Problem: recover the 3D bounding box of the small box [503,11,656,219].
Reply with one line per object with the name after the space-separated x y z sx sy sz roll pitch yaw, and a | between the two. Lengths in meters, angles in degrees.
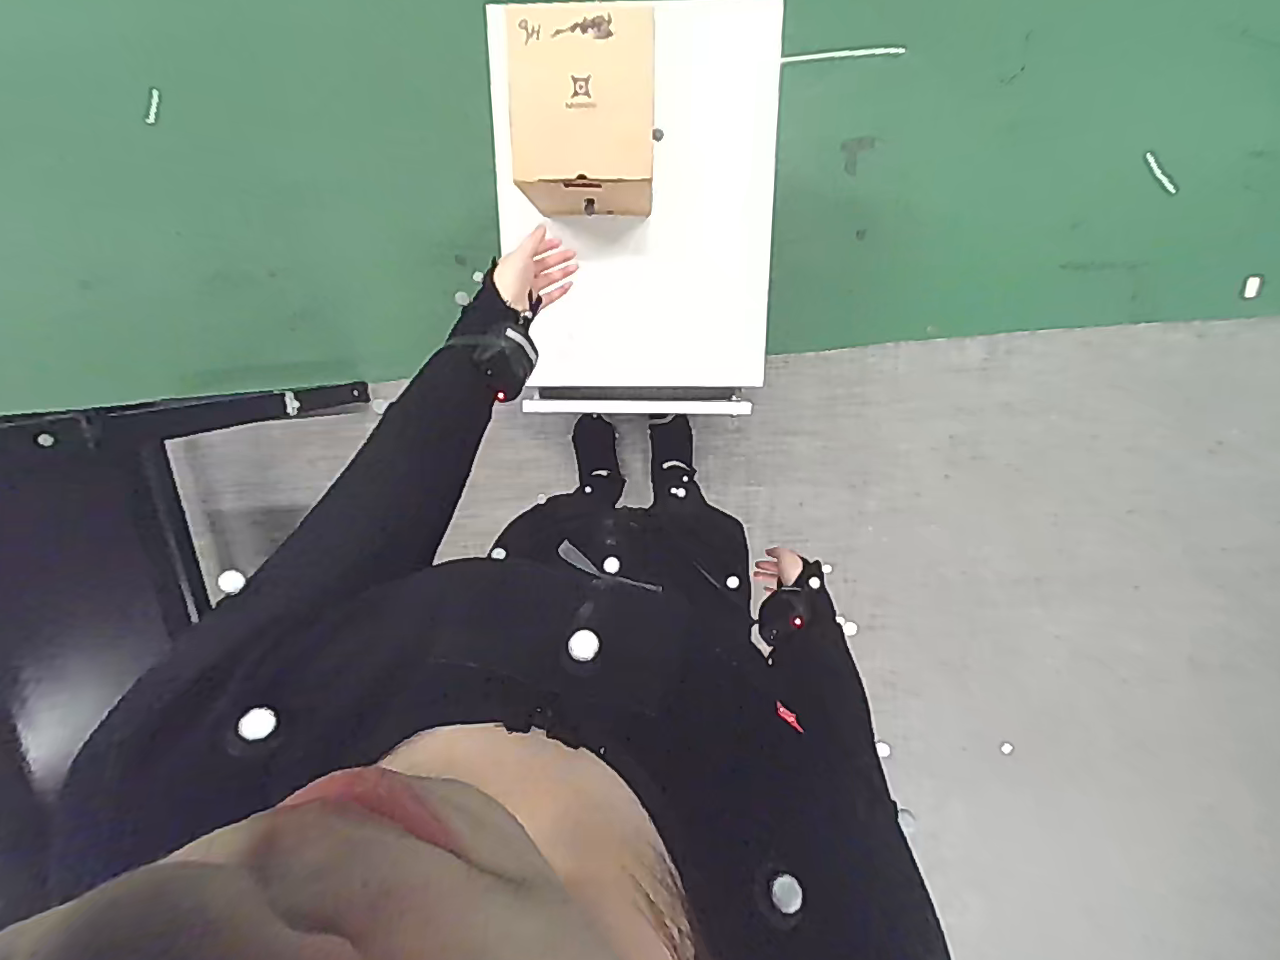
-0.064 -0.434 0.673 0.168 0.176 0.179 1 104 1 | small box
